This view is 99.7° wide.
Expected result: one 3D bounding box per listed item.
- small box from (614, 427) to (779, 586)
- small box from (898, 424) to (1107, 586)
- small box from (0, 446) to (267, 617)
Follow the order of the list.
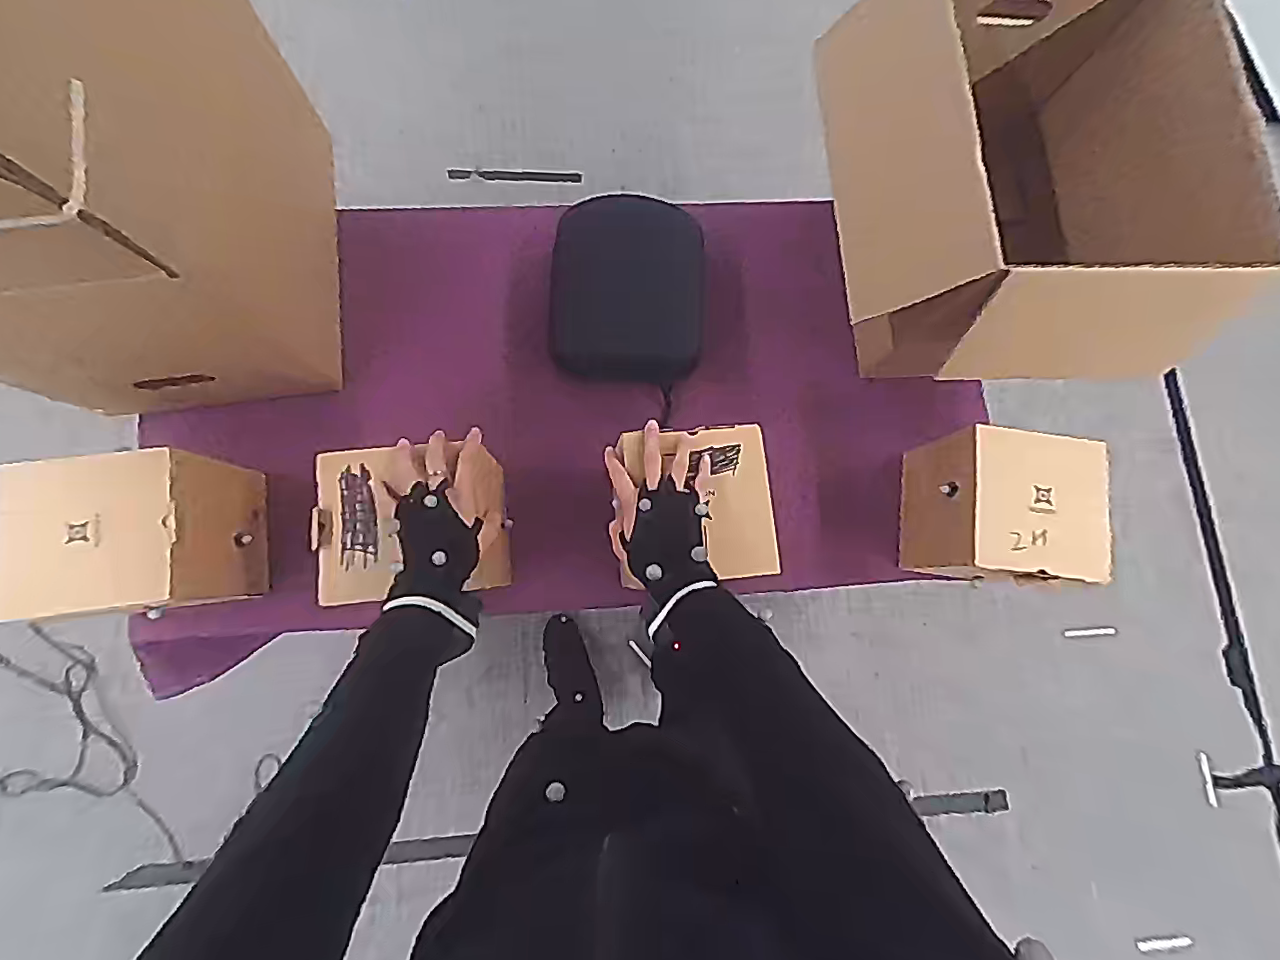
[{"bbox_3d":[0.059,0.040,0.685,0.168,0.176,0.179,-4,81,-8],"label":"small box"},{"bbox_3d":[0.464,0.041,0.716,0.168,0.176,0.179,8,80,-2],"label":"small box"},{"bbox_3d":[-0.582,0.066,0.639,0.179,0.176,0.168,-7,81,-7],"label":"small box"}]
